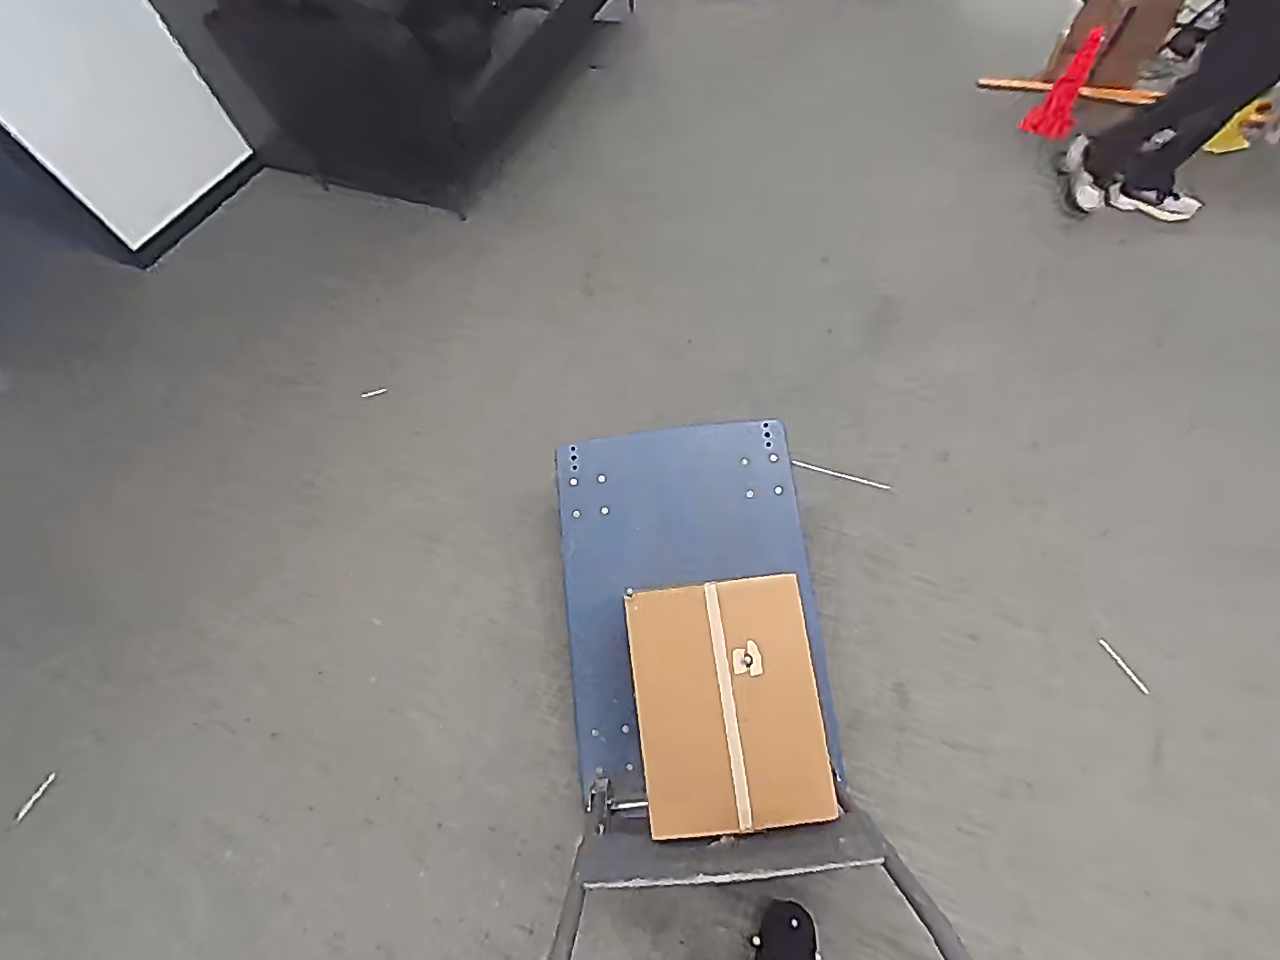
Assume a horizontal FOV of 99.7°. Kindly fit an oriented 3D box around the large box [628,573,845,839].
[{"bbox_3d":[0.168,0.411,1.069,0.320,0.320,0.408,-8,77,1],"label":"large box"}]
